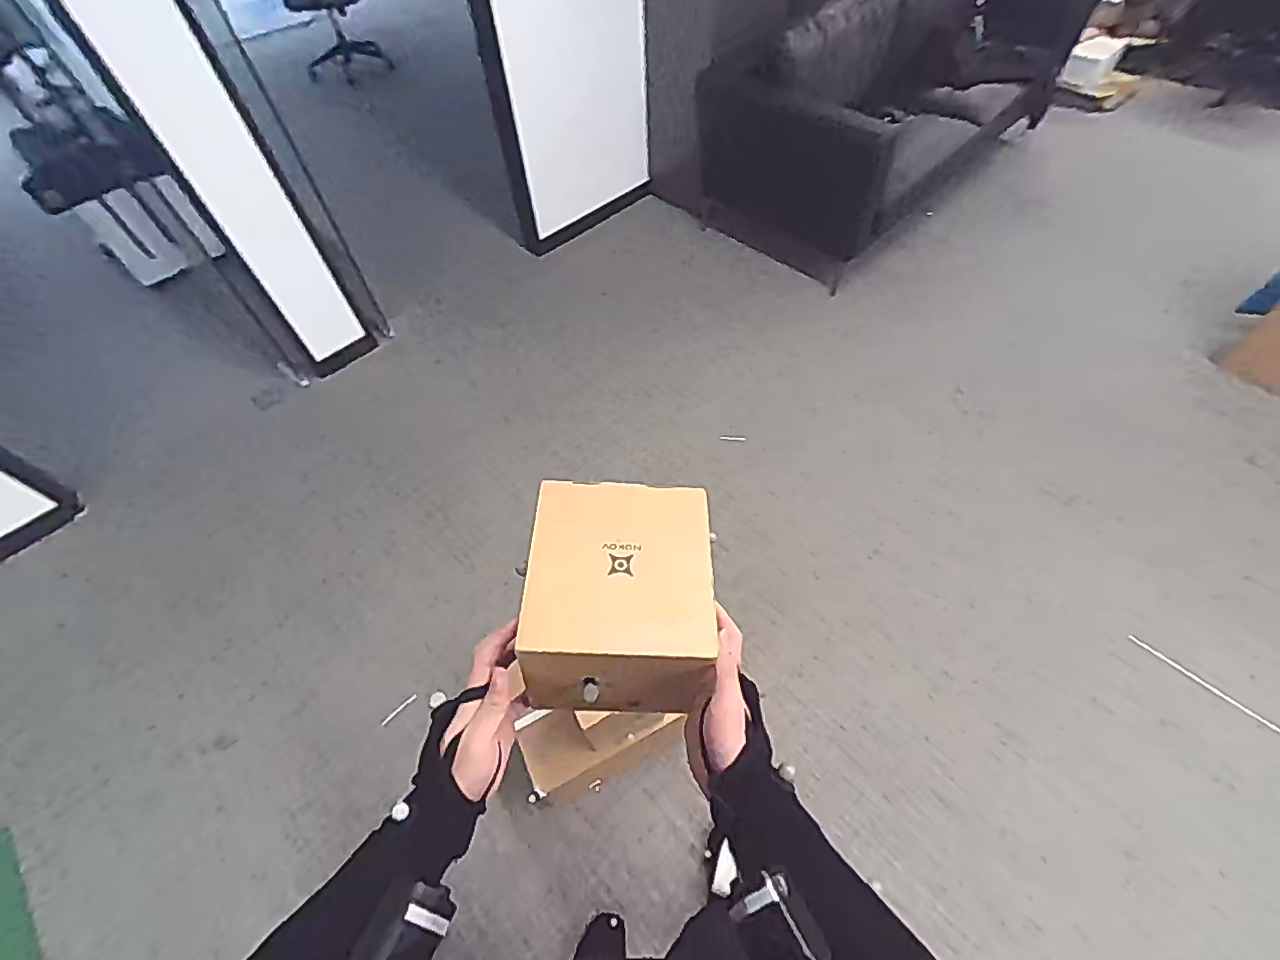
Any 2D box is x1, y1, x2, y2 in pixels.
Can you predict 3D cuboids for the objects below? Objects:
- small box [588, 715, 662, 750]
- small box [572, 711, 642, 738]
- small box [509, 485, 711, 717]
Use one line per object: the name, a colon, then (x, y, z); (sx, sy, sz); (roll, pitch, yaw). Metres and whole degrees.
small box: (-0.059, 0.454, 1.168); (0.168, 0.176, 0.179); (-22, 59, -12)
small box: (-0.062, 0.369, 1.029); (0.168, 0.176, 0.179); (-23, 58, -14)
small box: (-0.025, 0.126, 0.544); (0.168, 0.176, 0.179); (3, 50, -2)
